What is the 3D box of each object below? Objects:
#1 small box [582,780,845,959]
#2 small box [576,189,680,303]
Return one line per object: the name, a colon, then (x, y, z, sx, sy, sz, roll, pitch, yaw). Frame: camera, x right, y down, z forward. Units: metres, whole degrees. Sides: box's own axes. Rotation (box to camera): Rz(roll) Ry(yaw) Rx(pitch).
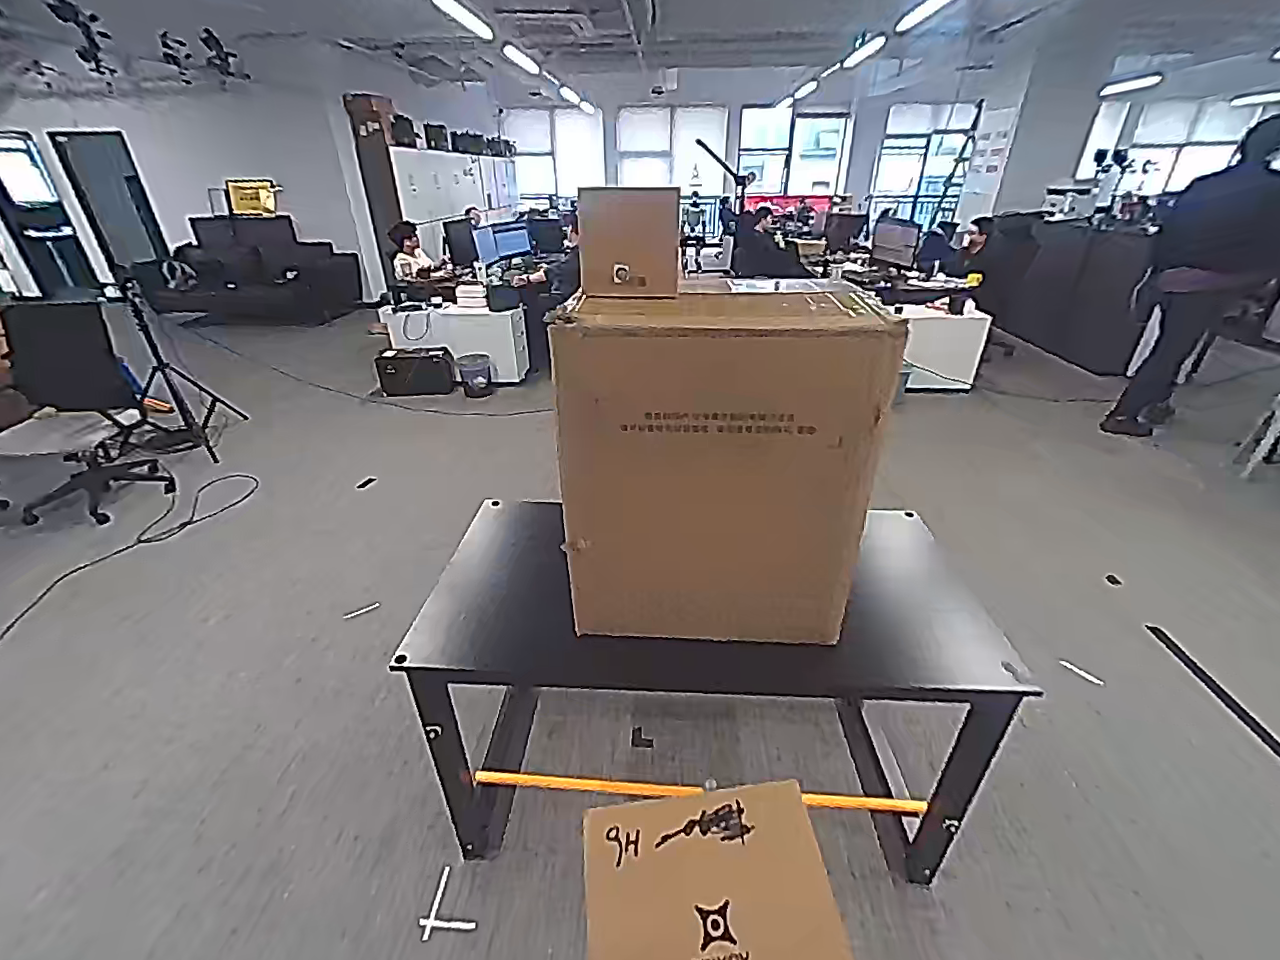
small box: (0.050, 0.353, 0.403, 0.168, 0.176, 0.179, -6, 44, -3)
small box: (-0.016, -0.414, 0.951, 0.168, 0.176, 0.179, -1, 29, 2)
